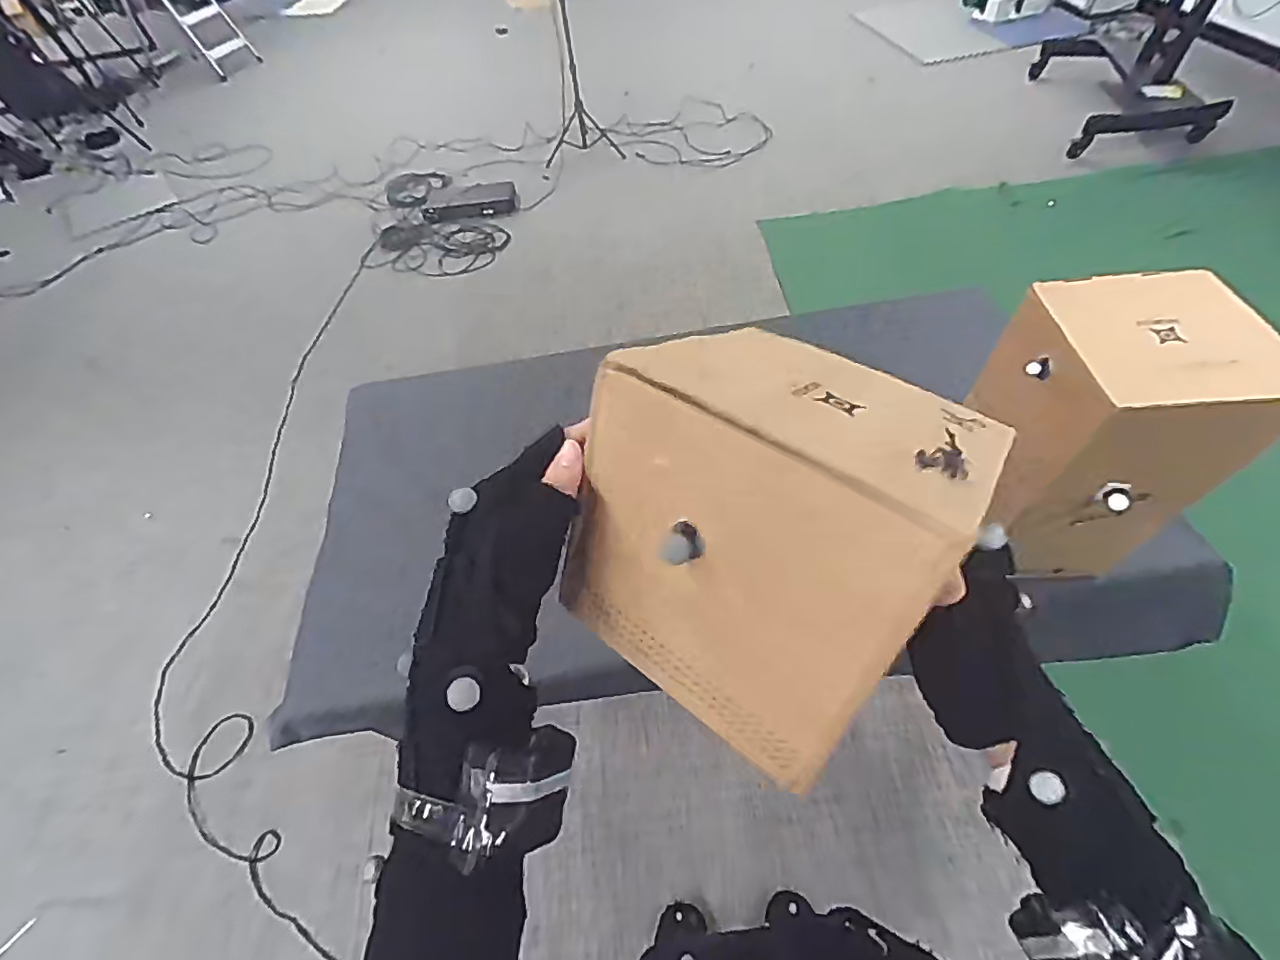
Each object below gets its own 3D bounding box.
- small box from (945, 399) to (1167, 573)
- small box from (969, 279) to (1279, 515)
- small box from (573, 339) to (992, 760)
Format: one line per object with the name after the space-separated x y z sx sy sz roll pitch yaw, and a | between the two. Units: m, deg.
0.495 0.011 0.693 0.168 0.176 0.179 -3 53 5 | small box
0.477 -0.081 0.561 0.168 0.176 0.179 -3 55 6 | small box
0.079 0.025 0.335 0.179 0.176 0.168 29 32 25 | small box
